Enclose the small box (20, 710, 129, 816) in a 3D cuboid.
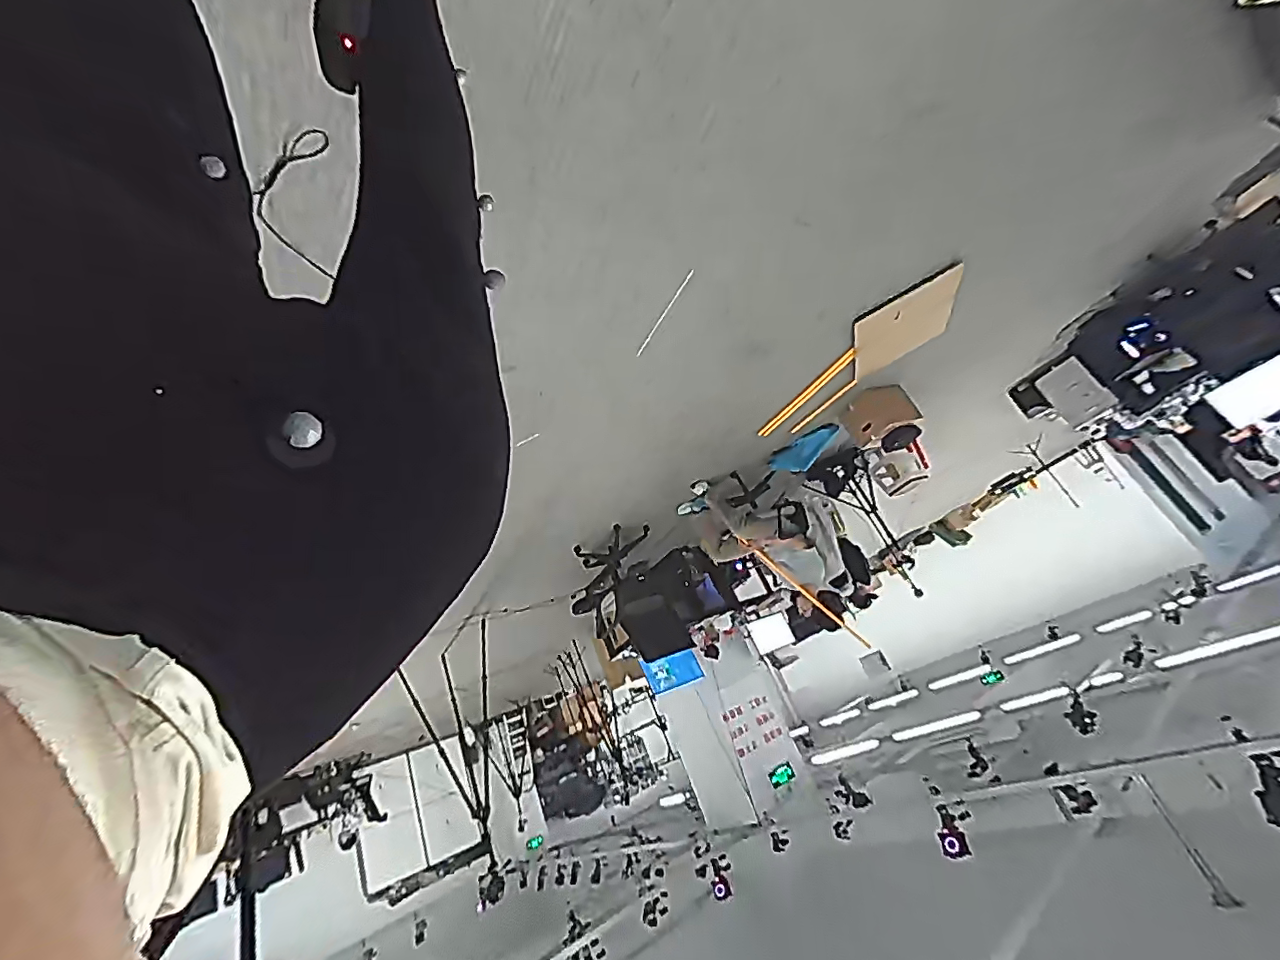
[{"bbox_3d":[-1.375,0.685,1.324,0.168,0.176,0.179,-3,148,-38],"label":"small box"}]
